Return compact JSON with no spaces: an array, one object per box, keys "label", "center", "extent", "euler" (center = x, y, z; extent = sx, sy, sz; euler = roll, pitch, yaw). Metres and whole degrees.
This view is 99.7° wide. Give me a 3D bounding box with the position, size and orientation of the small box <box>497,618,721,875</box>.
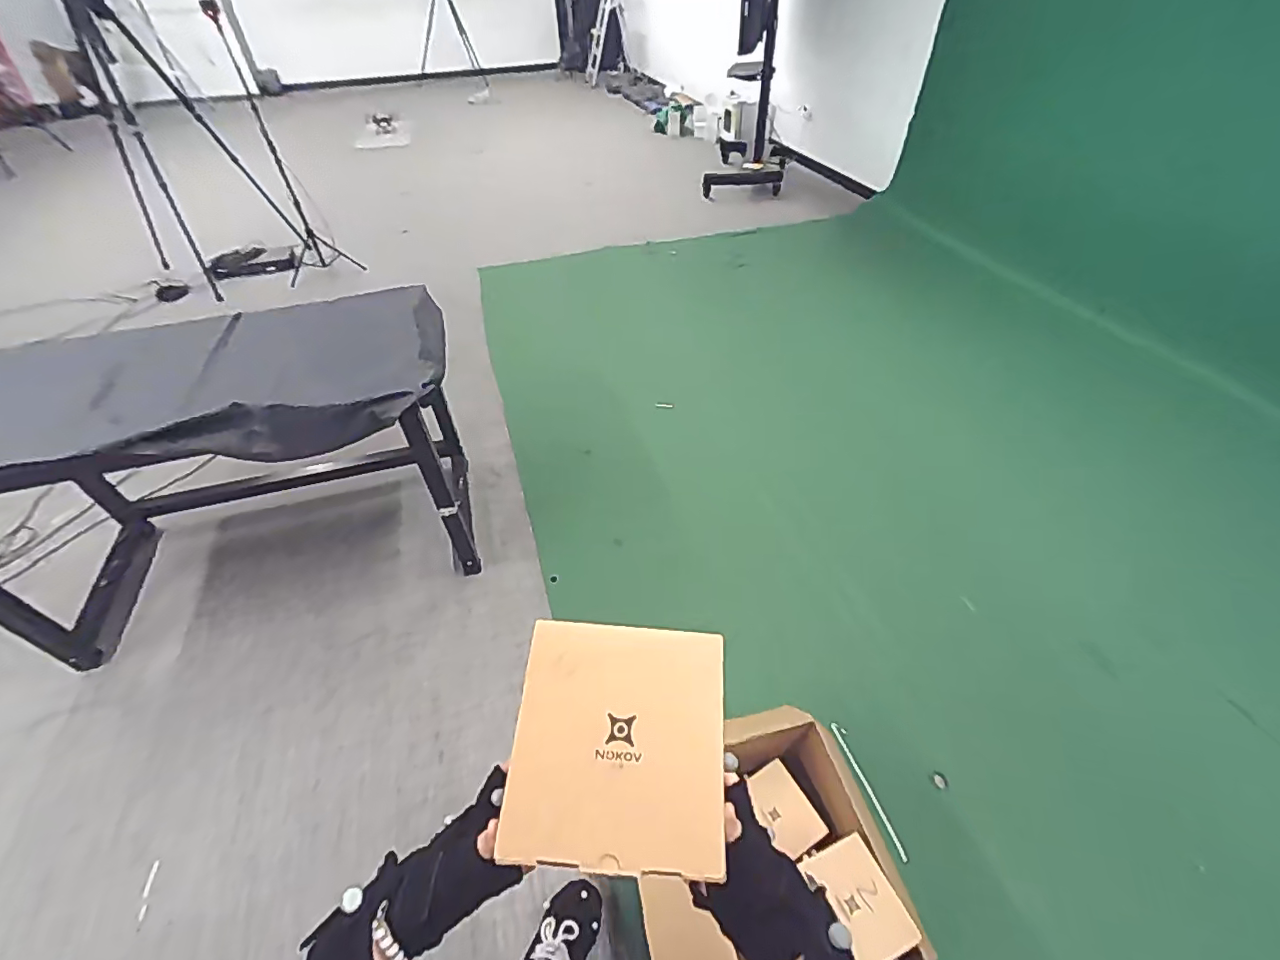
[{"label":"small box","center":[-0.022,0.245,0.503],"extent":[0.168,0.176,0.179],"euler":[6,59,0]}]
